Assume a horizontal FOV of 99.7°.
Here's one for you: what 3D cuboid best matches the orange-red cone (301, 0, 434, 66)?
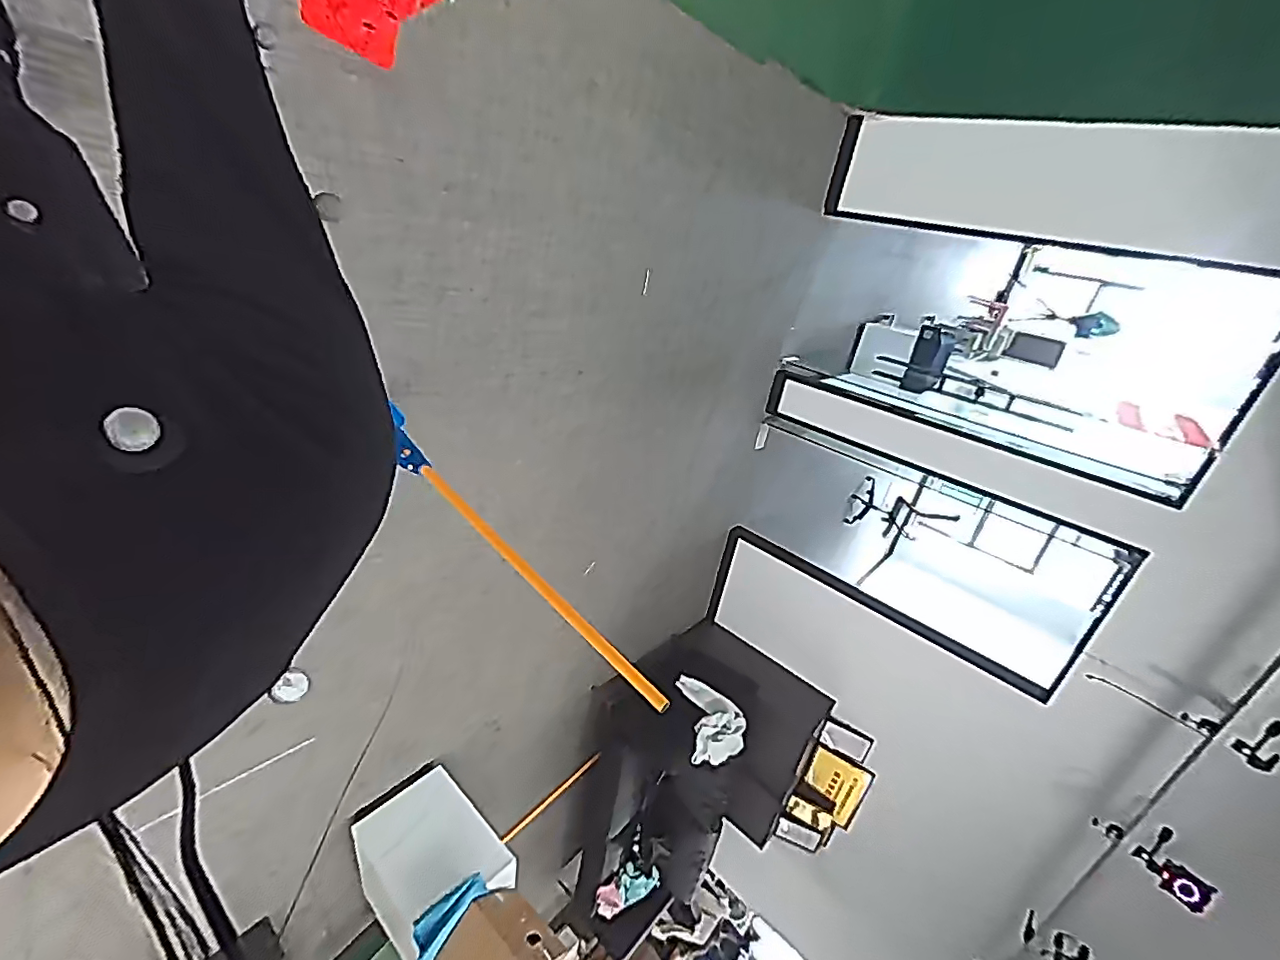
[{"bbox_3d":[-0.491,-0.976,1.074,0.198,0.360,0.199,-2,116,-52],"label":"orange-red cone"}]
